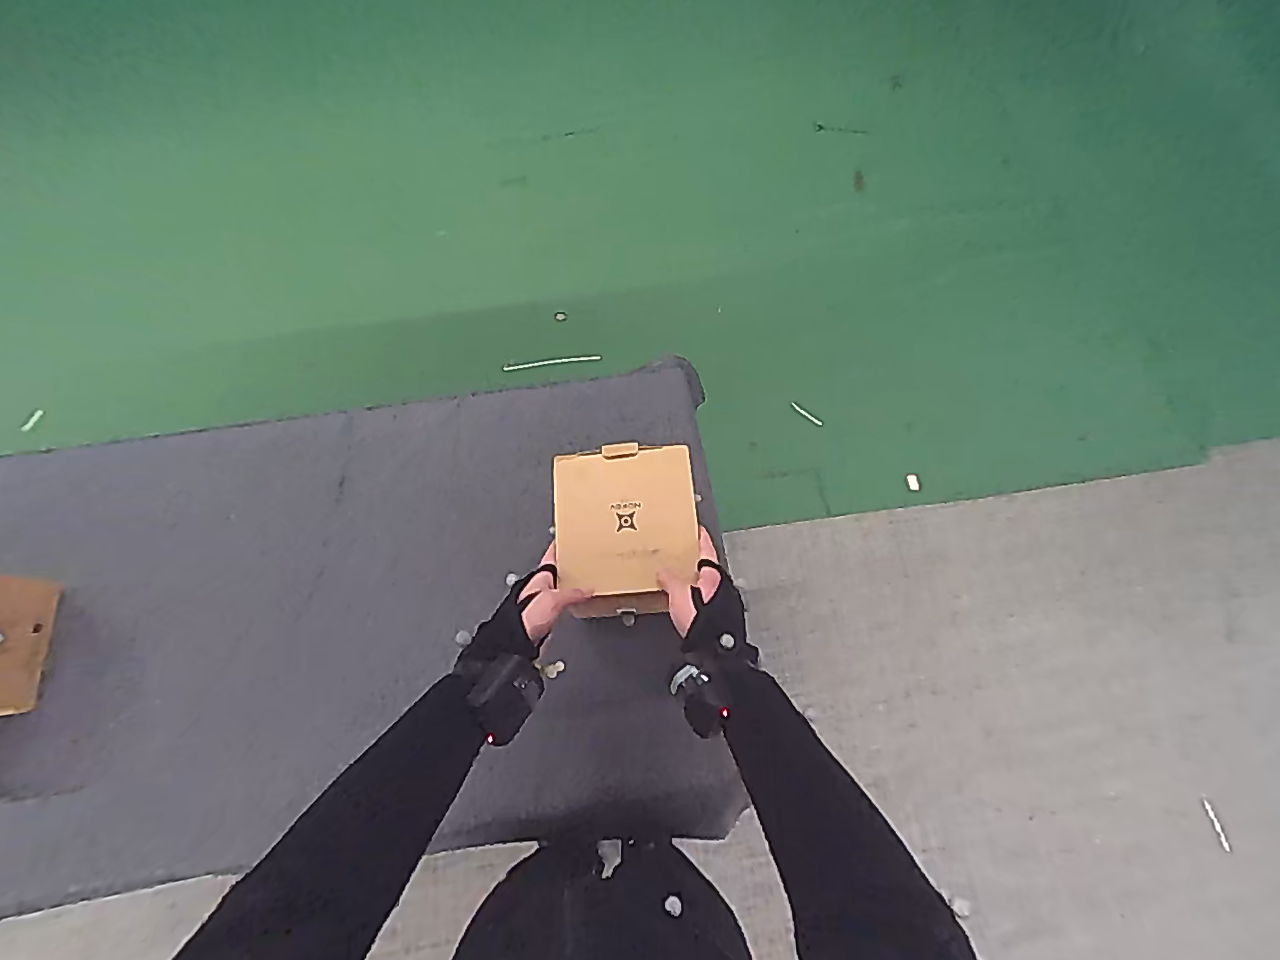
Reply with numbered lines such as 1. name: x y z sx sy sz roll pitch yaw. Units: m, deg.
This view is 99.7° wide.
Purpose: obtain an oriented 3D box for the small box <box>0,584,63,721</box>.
1. small box: -0.886 0.218 0.663 0.179 0.176 0.168 -8 69 -4

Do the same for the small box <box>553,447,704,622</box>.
1. small box: -0.012 0.075 0.682 0.168 0.176 0.179 -4 68 2
